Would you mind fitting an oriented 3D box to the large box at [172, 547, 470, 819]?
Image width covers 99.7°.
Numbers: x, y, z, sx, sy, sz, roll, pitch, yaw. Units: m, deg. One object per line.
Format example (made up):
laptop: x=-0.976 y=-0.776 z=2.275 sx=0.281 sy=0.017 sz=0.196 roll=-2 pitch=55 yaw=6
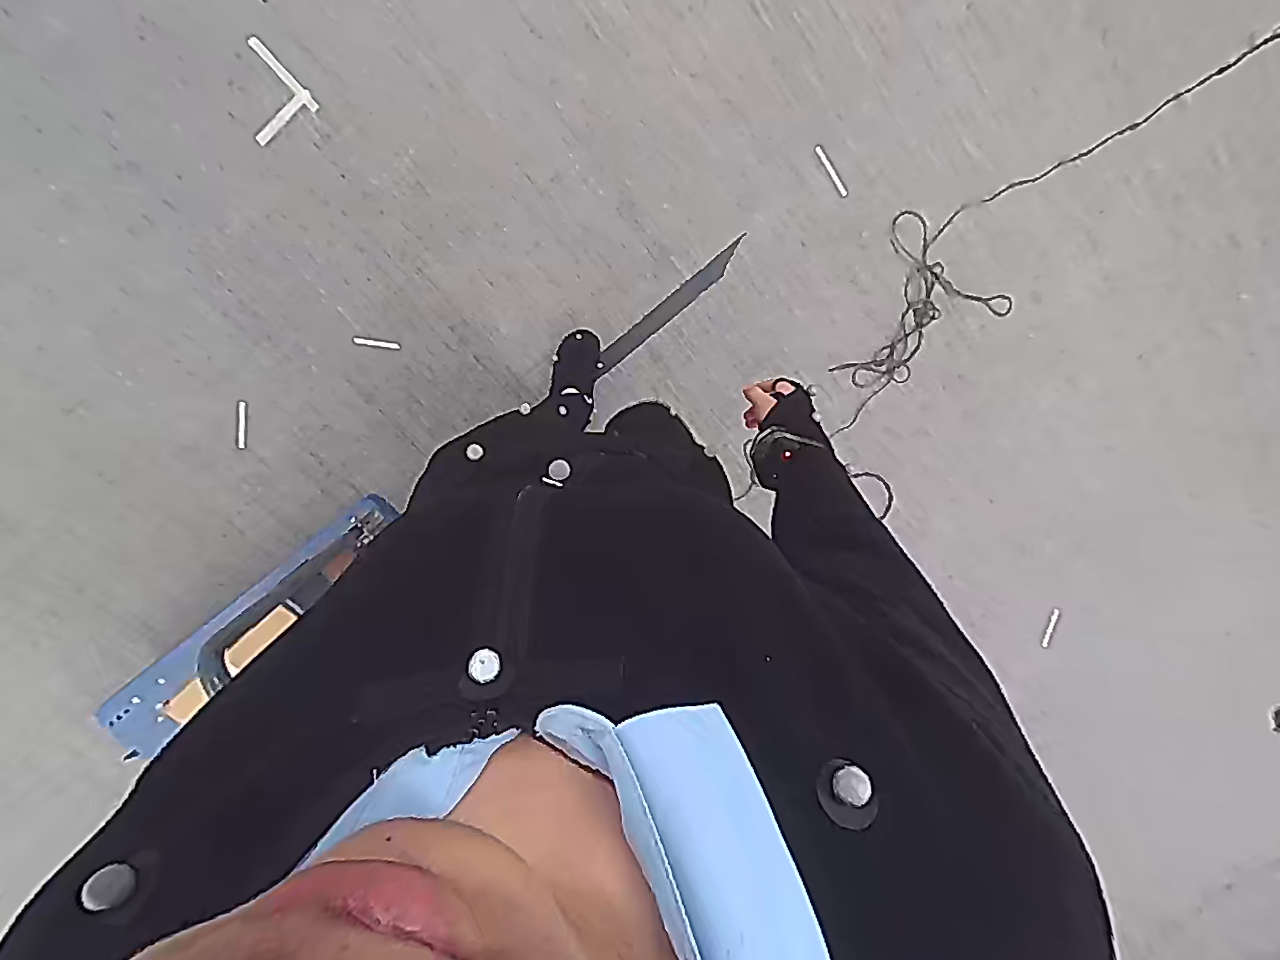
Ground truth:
large box: x=-0.652 y=0.426 z=1.192 sx=0.320 sy=0.320 sz=0.408 roll=-42 pitch=104 yaw=3
